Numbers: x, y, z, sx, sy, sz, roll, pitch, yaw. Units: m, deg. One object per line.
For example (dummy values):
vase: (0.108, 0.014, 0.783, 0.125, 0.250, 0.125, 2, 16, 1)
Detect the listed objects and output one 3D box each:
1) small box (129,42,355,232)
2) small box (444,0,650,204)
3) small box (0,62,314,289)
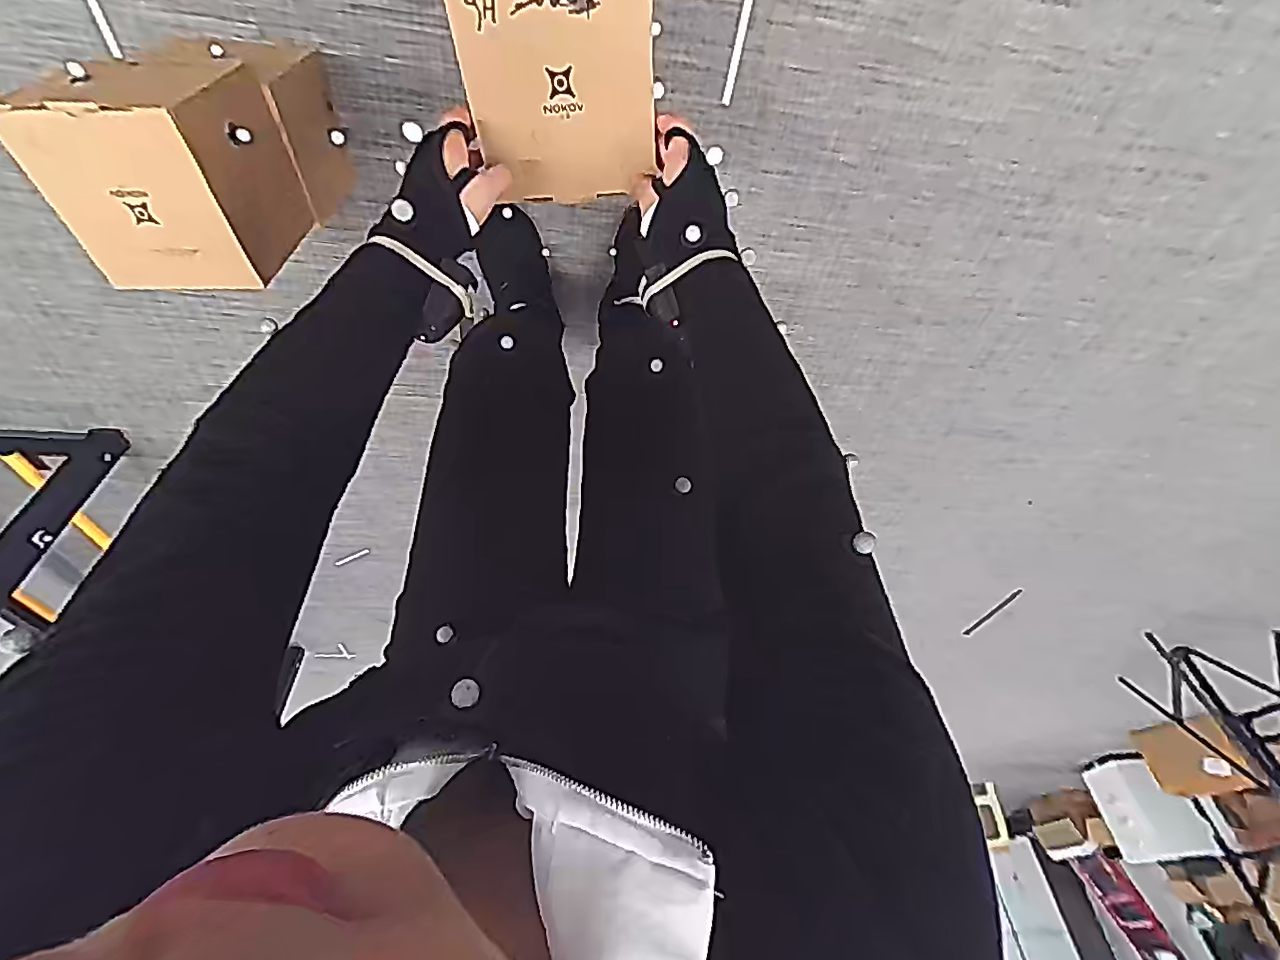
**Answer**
small box: (-0.506, -0.446, 0.703, 0.179, 0.176, 0.168, 0, 139, -5)
small box: (-0.074, -0.398, 0.531, 0.168, 0.176, 0.179, -2, 139, 1)
small box: (-0.497, -0.331, 0.588, 0.168, 0.176, 0.179, 0, 140, -1)
